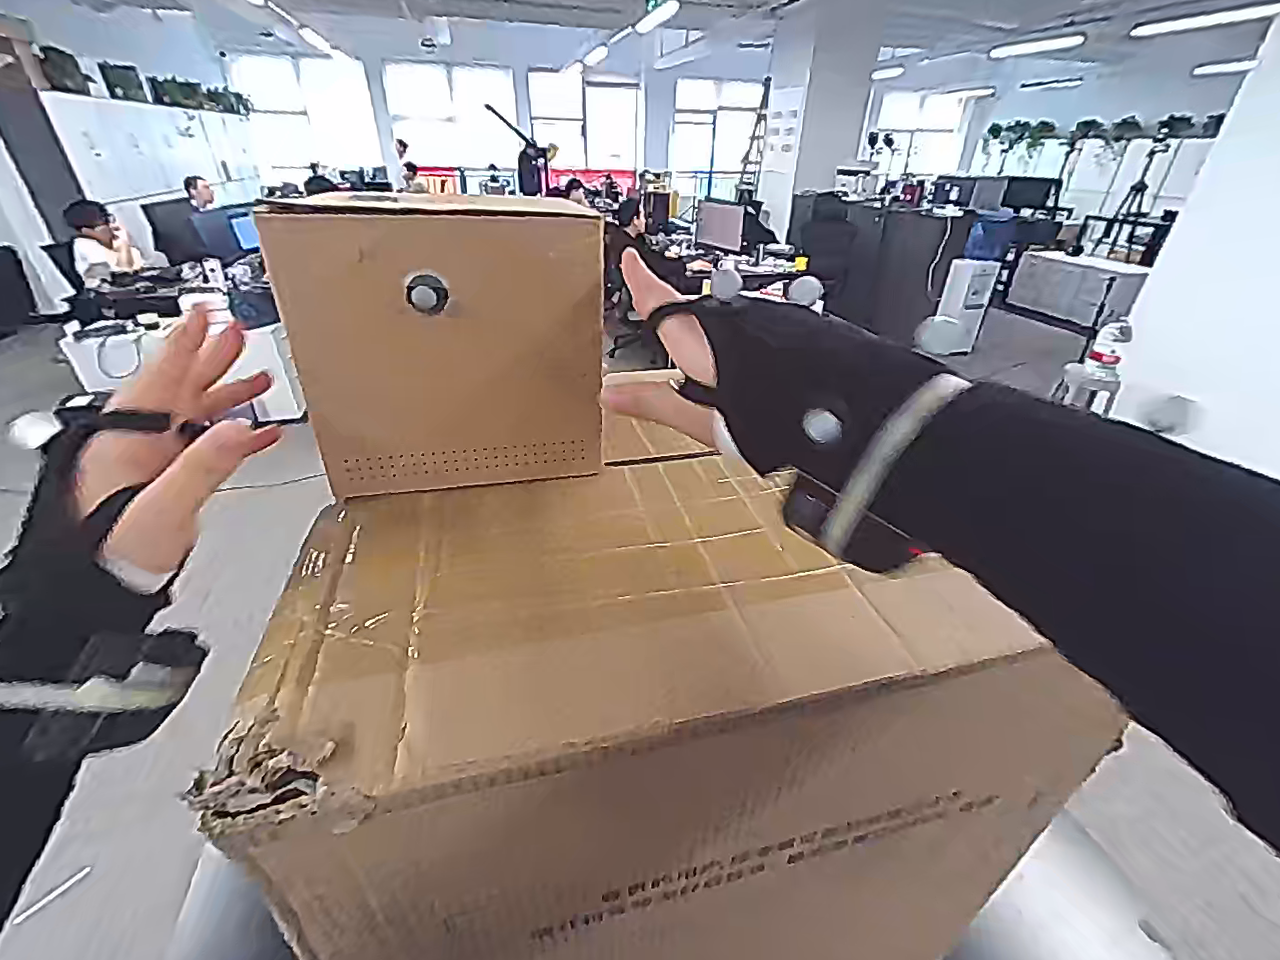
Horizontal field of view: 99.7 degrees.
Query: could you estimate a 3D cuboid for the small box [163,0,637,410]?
[{"bbox_3d":[-0.104,-0.145,0.310,0.179,0.176,0.168,-6,30,-14],"label":"small box"}]
